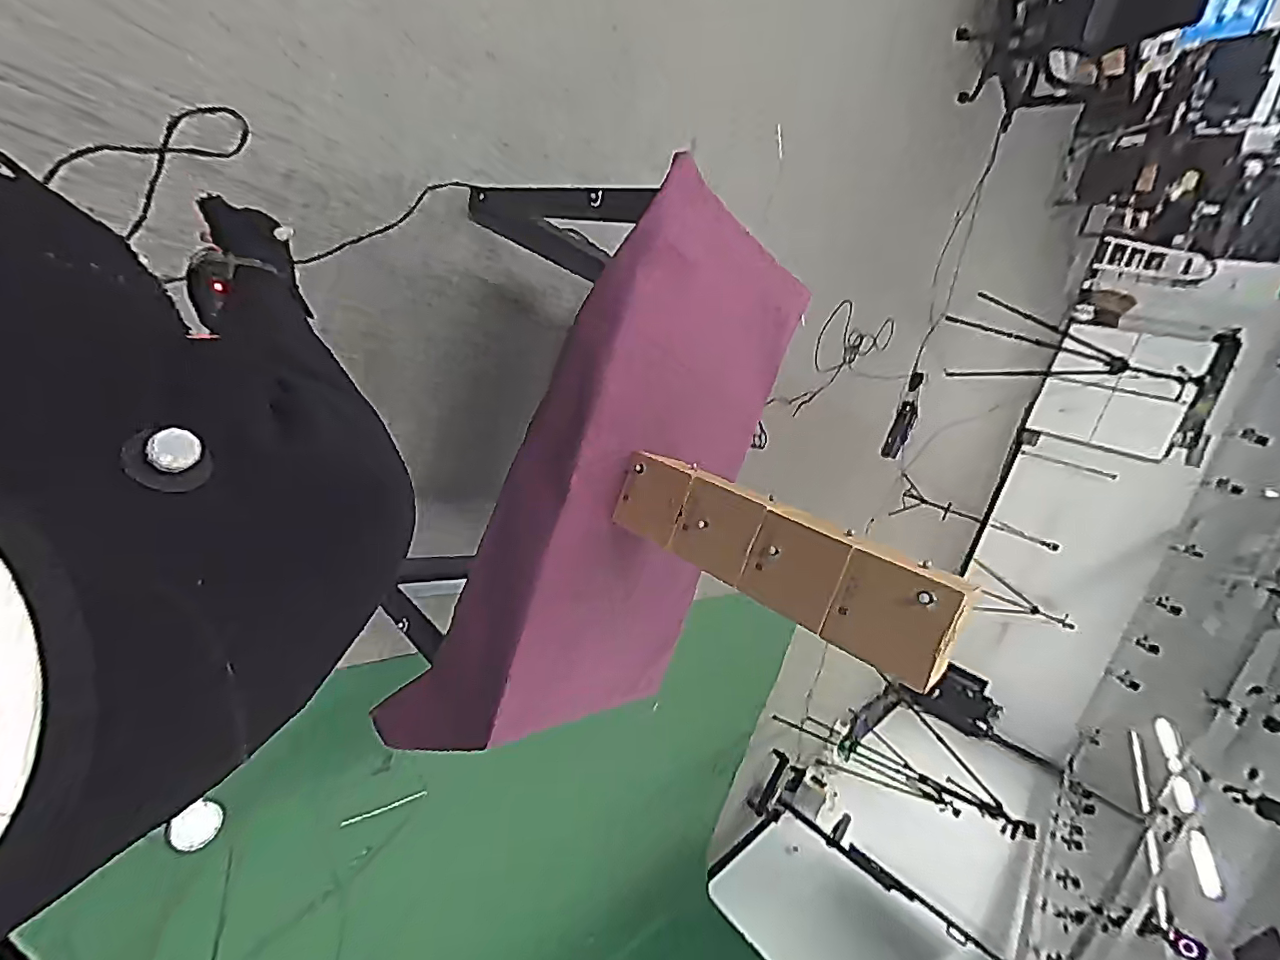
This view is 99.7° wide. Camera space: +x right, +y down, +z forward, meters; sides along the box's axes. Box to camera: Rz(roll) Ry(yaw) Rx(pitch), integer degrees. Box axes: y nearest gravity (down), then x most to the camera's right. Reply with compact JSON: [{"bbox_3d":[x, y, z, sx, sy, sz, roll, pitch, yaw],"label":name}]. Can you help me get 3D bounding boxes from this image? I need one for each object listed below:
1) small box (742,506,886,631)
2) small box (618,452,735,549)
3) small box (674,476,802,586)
[{"bbox_3d":[0.318,0.155,0.994,0.179,0.176,0.168,9,102,-50],"label":"small box"},{"bbox_3d":[0.079,0.046,1.190,0.179,0.176,0.168,10,102,-51],"label":"small box"},{"bbox_3d":[0.200,0.100,1.093,0.179,0.176,0.168,9,102,-50],"label":"small box"}]
